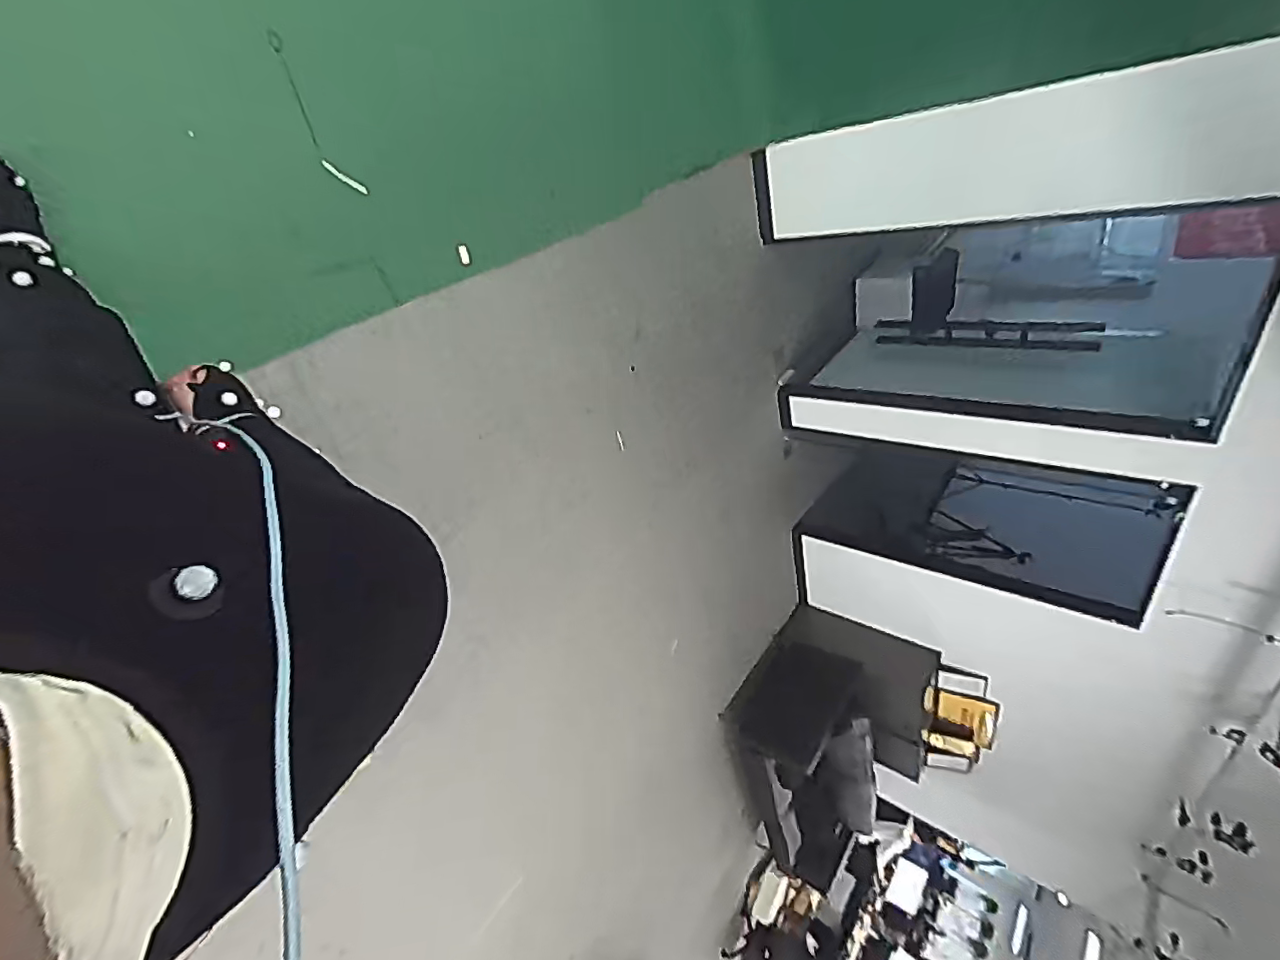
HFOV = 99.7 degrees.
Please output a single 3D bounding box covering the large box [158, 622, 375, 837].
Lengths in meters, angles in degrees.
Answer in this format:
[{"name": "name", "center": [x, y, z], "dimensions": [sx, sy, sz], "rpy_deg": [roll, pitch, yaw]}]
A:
[{"name": "large box", "center": [-0.973, 0.613, 1.425], "dimensions": [0.408, 0.320, 0.320], "rpy_deg": [-5, 105, -50]}]
